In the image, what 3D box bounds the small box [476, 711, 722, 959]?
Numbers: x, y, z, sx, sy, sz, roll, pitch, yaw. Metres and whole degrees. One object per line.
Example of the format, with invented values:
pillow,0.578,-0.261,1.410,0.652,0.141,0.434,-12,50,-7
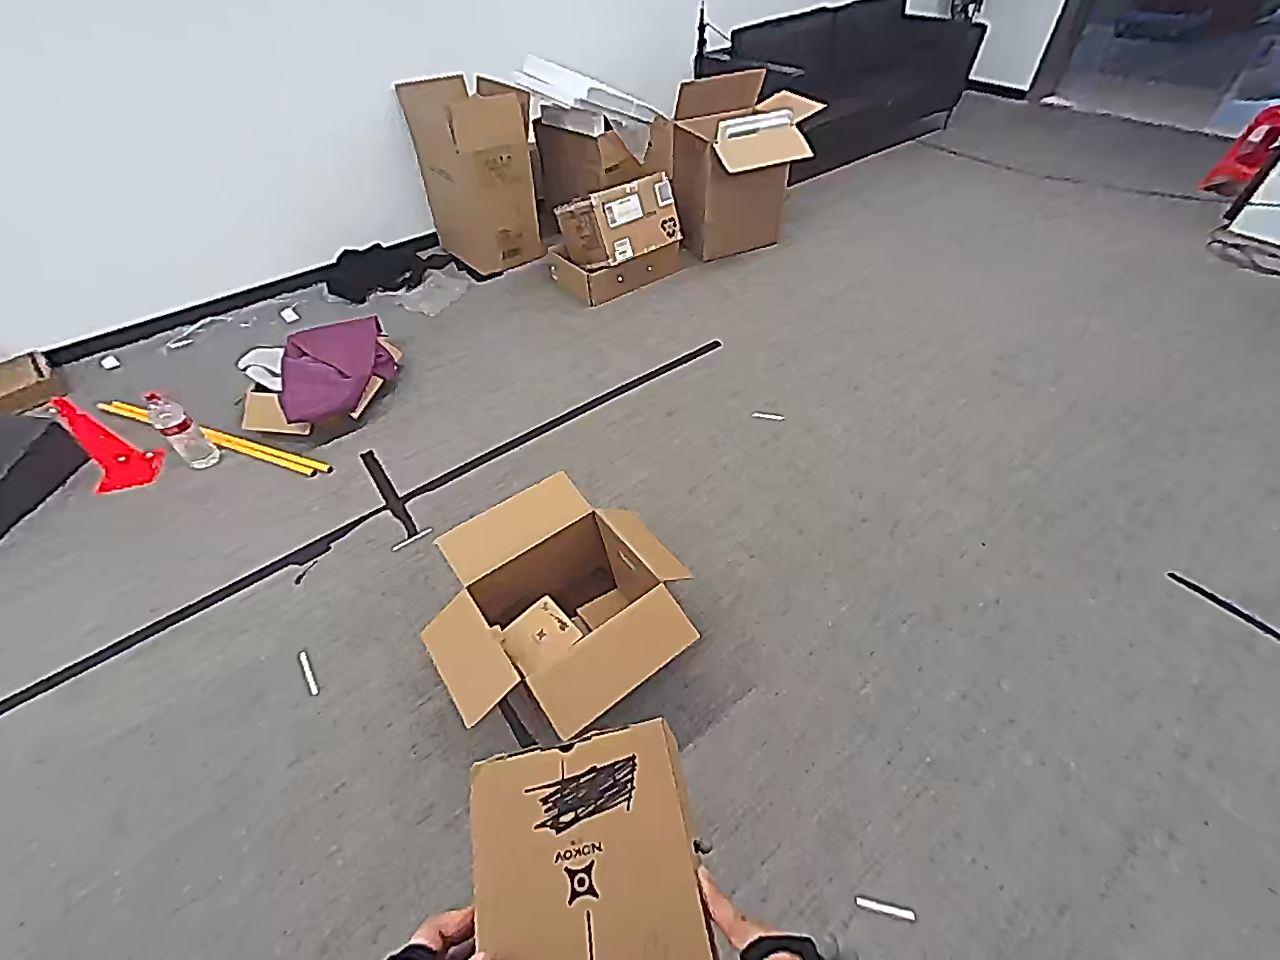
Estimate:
small box,-0.032,0.323,0.474,0.168,0.176,0.179,-14,59,0
